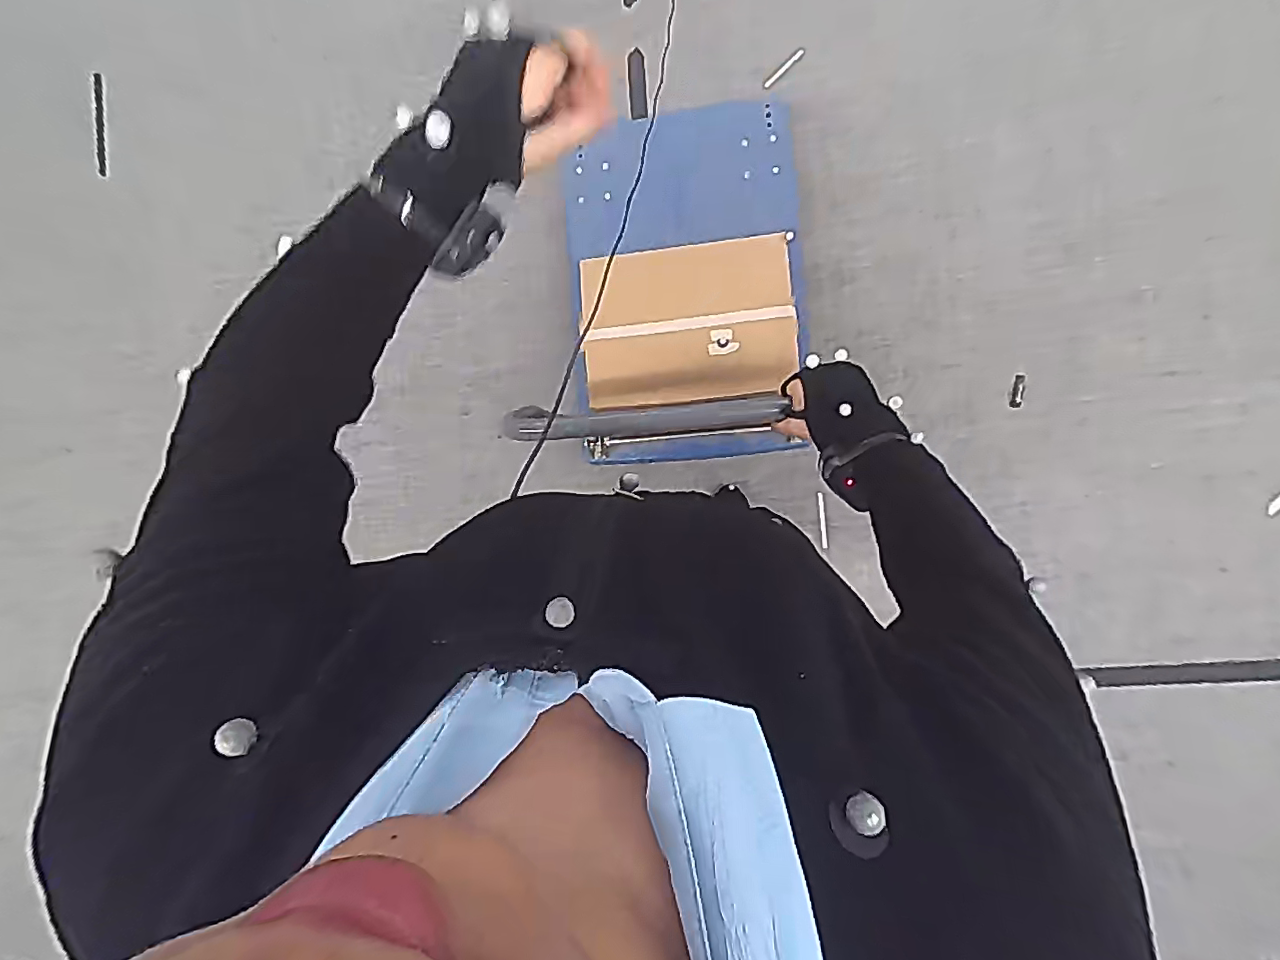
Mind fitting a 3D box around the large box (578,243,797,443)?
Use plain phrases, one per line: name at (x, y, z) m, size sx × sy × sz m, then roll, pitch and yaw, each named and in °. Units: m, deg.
large box at (0.101, -0.270, 1.184) m, size 0.408 × 0.320 × 0.320 m, roll -5°, pitch 87°, yaw 7°
